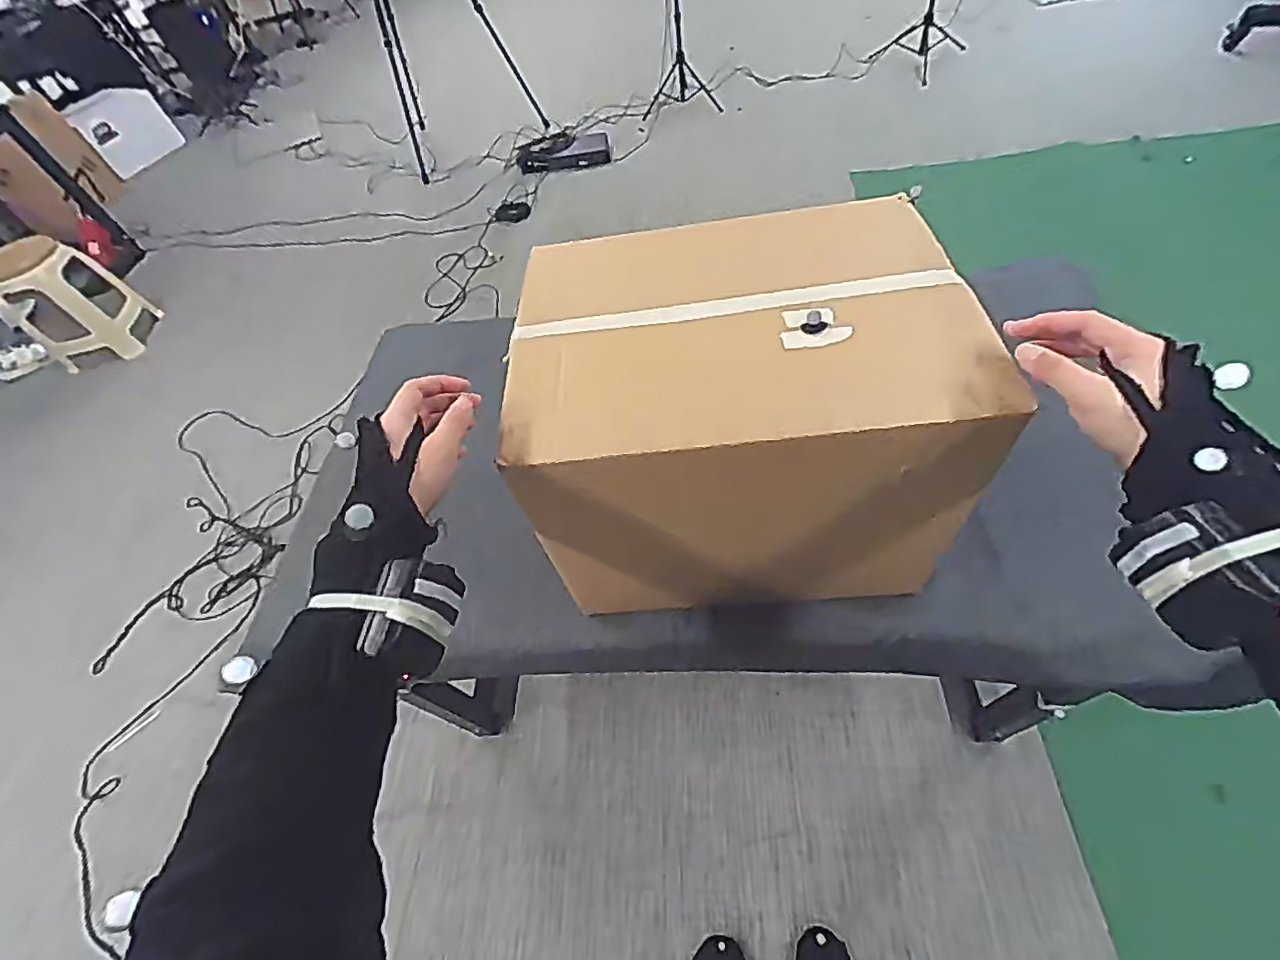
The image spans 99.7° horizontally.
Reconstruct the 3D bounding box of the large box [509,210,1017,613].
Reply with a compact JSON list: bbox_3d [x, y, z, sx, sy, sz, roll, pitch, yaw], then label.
[{"bbox_3d":[0.101,-0.062,0.626,0.408,0.320,0.320,-5,53,5],"label":"large box"}]
